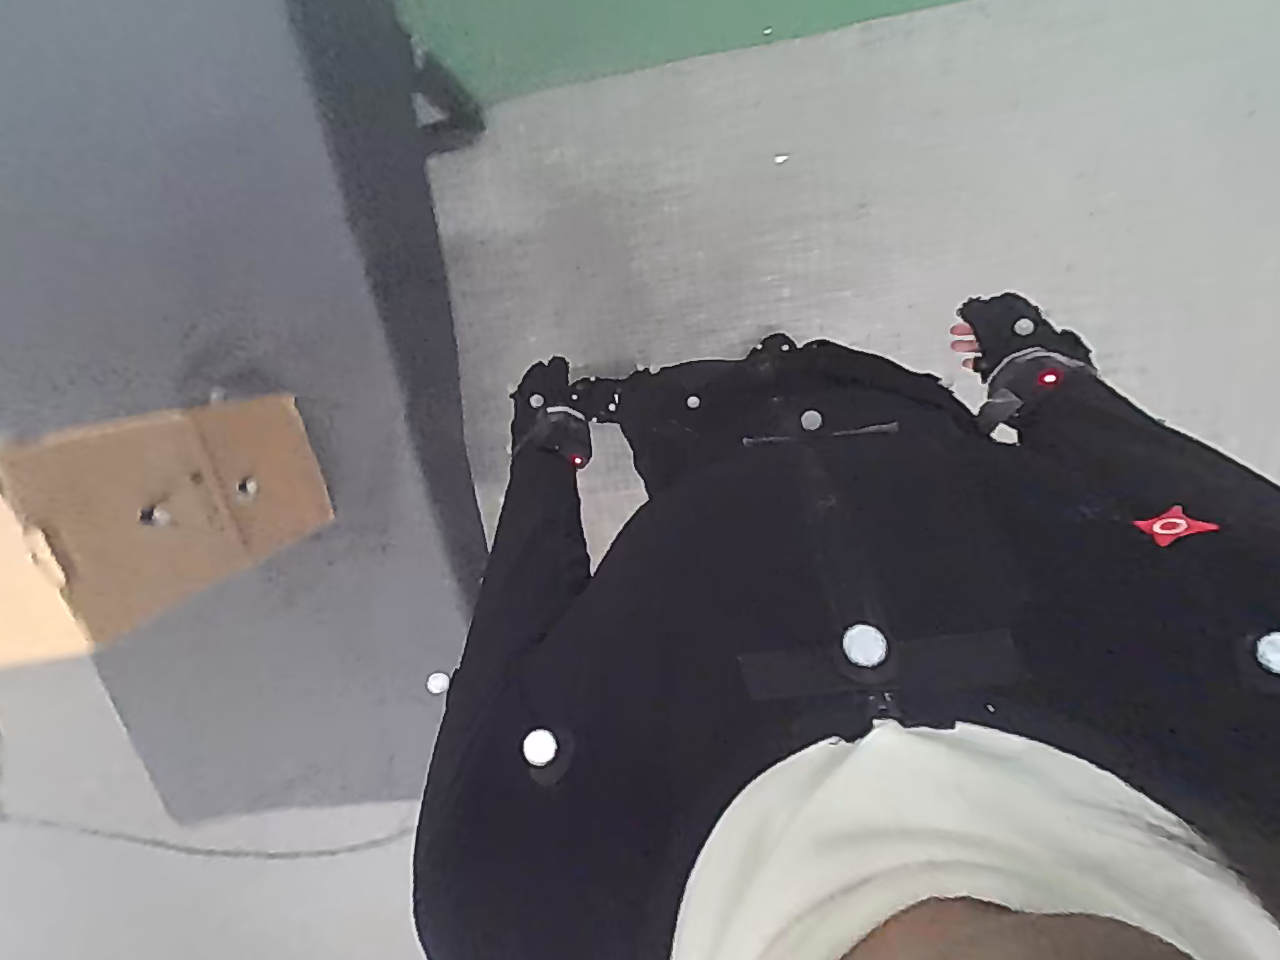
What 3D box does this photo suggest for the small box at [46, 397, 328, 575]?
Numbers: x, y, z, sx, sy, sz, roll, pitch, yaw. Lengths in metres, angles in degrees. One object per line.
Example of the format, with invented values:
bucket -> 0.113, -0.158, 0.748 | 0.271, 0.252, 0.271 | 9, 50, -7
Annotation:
small box -> -0.516, 0.007, 0.649 | 0.168, 0.176, 0.179 | -9, 104, 7

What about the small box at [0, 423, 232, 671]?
small box -> -0.522, 0.053, 0.491 | 0.179, 0.176, 0.168 | -10, 106, 6
